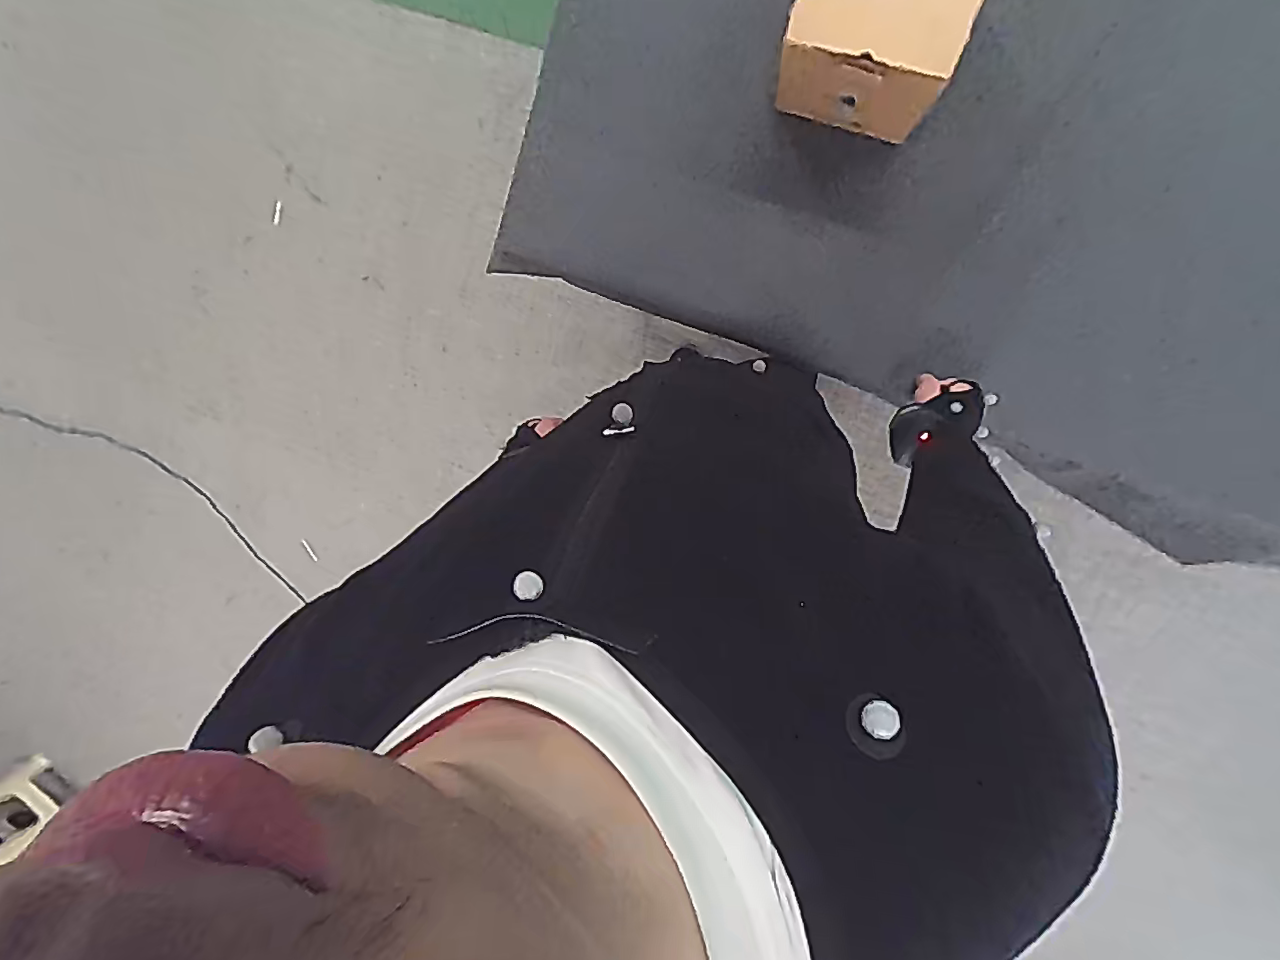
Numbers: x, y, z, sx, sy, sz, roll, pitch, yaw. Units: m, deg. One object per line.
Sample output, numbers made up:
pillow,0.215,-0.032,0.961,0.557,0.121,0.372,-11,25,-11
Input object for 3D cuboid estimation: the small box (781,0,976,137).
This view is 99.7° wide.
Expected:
small box,0.260,-0.505,0.585,0.168,0.176,0.179,17,106,8
